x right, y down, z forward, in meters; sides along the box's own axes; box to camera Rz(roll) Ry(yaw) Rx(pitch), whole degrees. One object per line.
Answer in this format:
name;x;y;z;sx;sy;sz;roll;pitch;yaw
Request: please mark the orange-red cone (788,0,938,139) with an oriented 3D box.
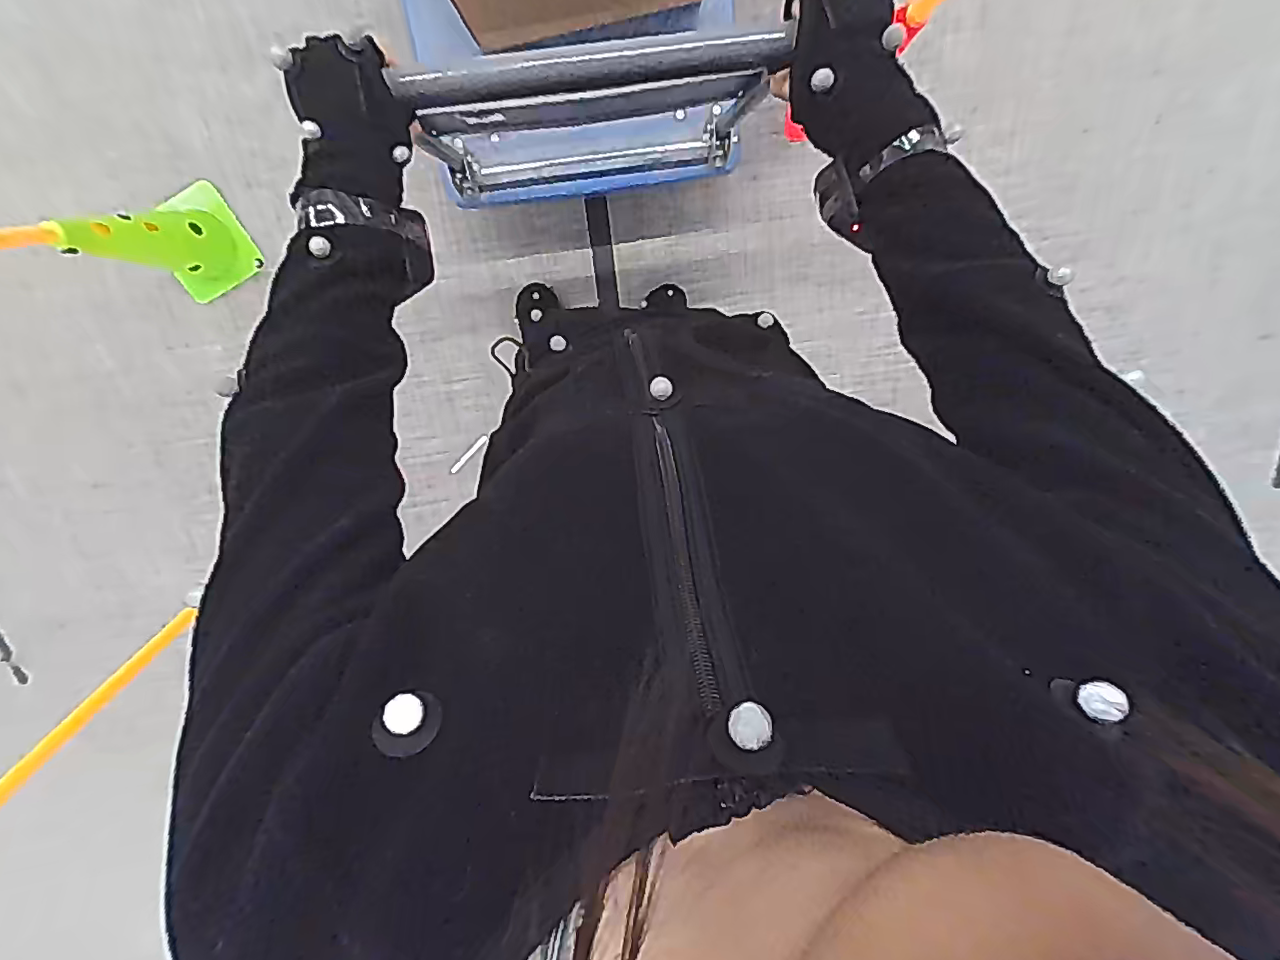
orange-red cone;0.432;-0.781;0.993;0.199;0.360;0.198;-2;111;-3
